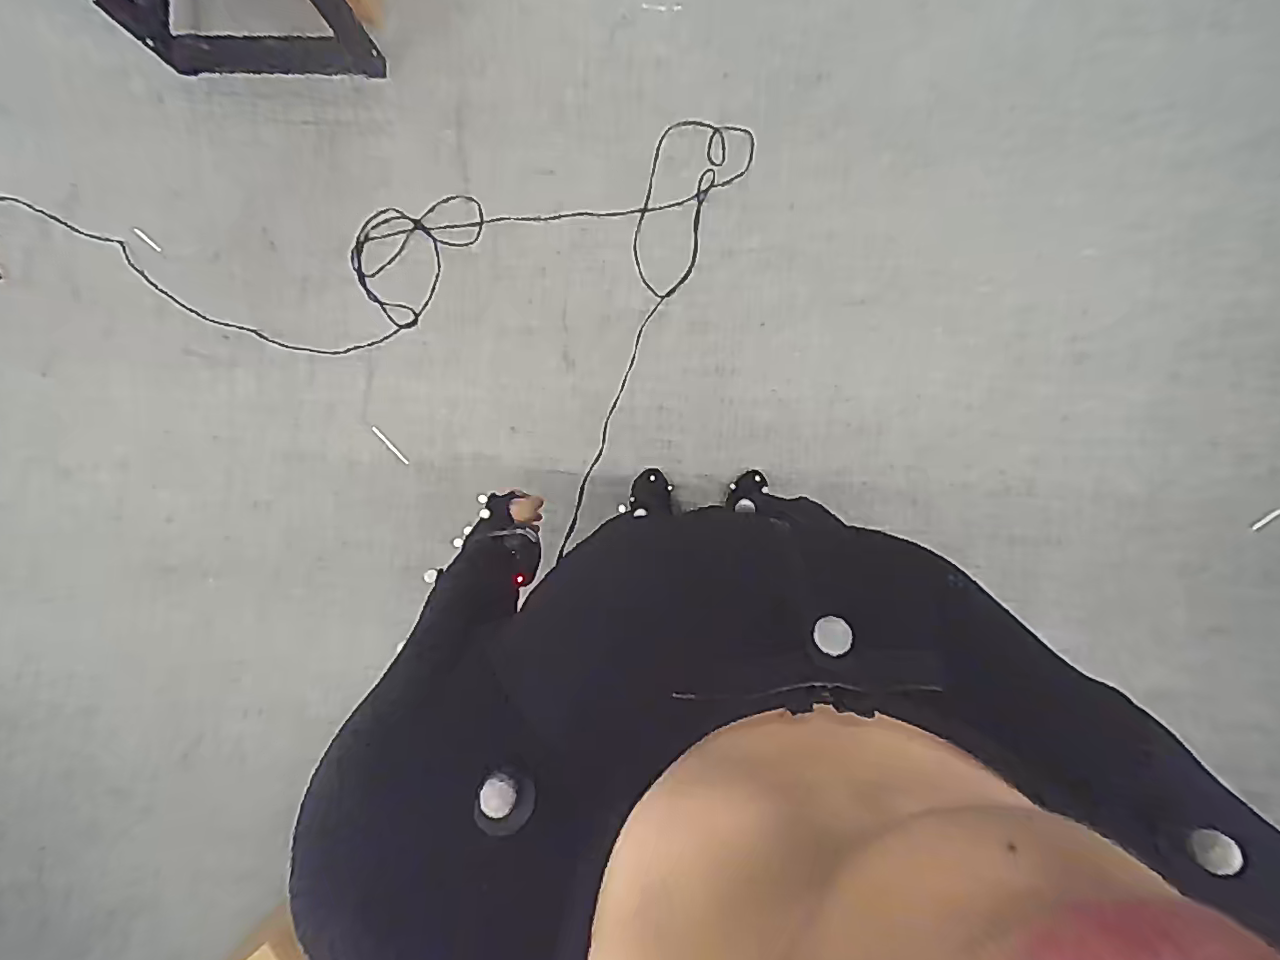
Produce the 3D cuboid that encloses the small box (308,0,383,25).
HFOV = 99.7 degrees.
[{"bbox_3d":[-0.776,-1.320,1.388,0.179,0.176,0.168,6,93,1],"label":"small box"}]
